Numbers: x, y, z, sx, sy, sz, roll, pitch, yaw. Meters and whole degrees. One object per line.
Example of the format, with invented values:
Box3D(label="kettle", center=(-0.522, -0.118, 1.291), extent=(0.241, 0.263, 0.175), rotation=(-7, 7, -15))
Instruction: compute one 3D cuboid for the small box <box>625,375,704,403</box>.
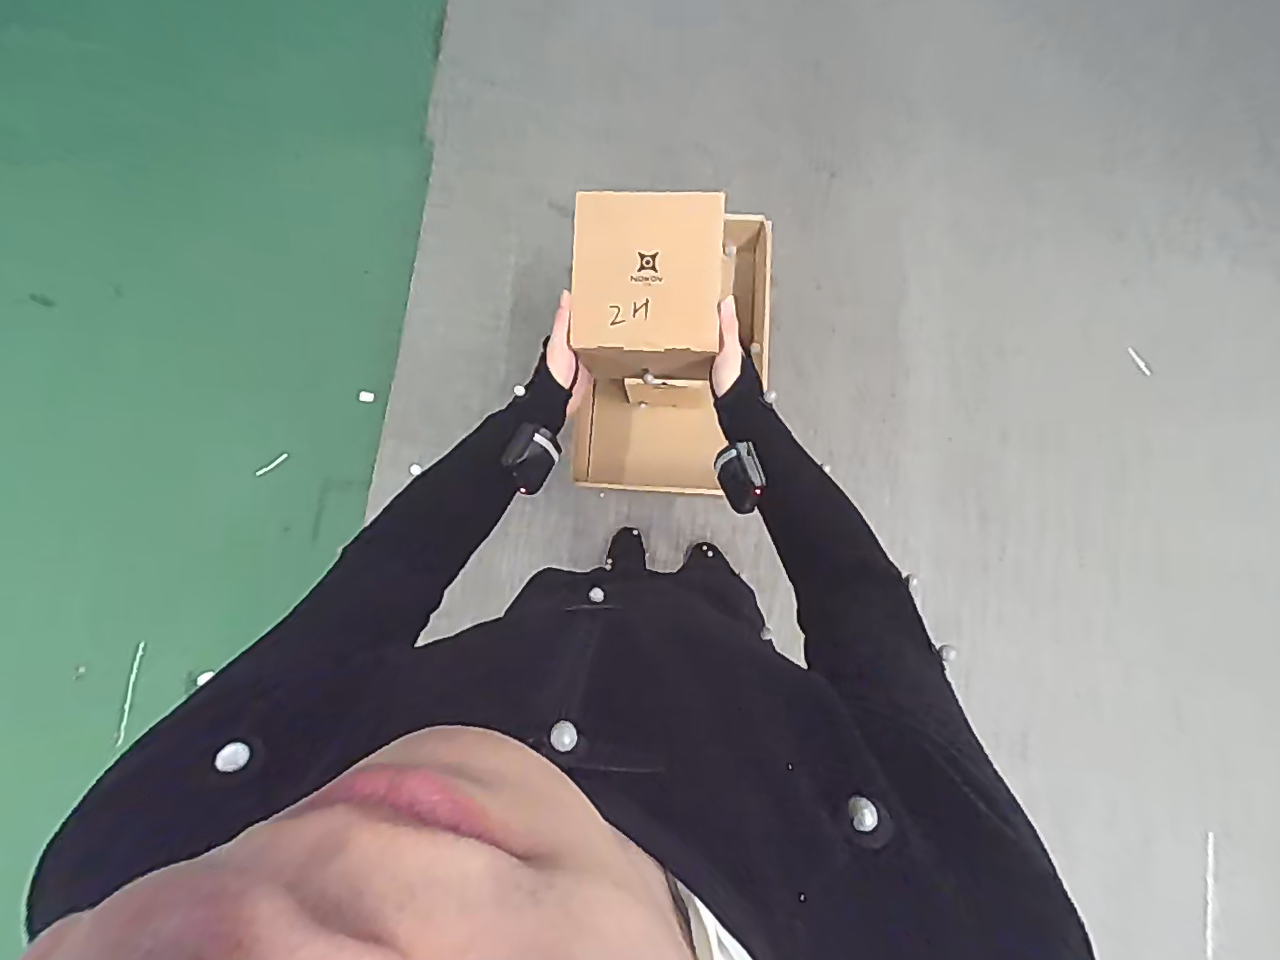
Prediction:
Box3D(label="small box", center=(0.063, -0.274, 1.189), extent=(0.168, 0.176, 0.179), rotation=(4, 83, 4))

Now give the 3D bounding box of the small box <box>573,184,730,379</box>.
Box3D(label="small box", center=(0.016, -0.231, 0.663), extent=(0.168, 0.176, 0.179), rotation=(2, 89, 4))
